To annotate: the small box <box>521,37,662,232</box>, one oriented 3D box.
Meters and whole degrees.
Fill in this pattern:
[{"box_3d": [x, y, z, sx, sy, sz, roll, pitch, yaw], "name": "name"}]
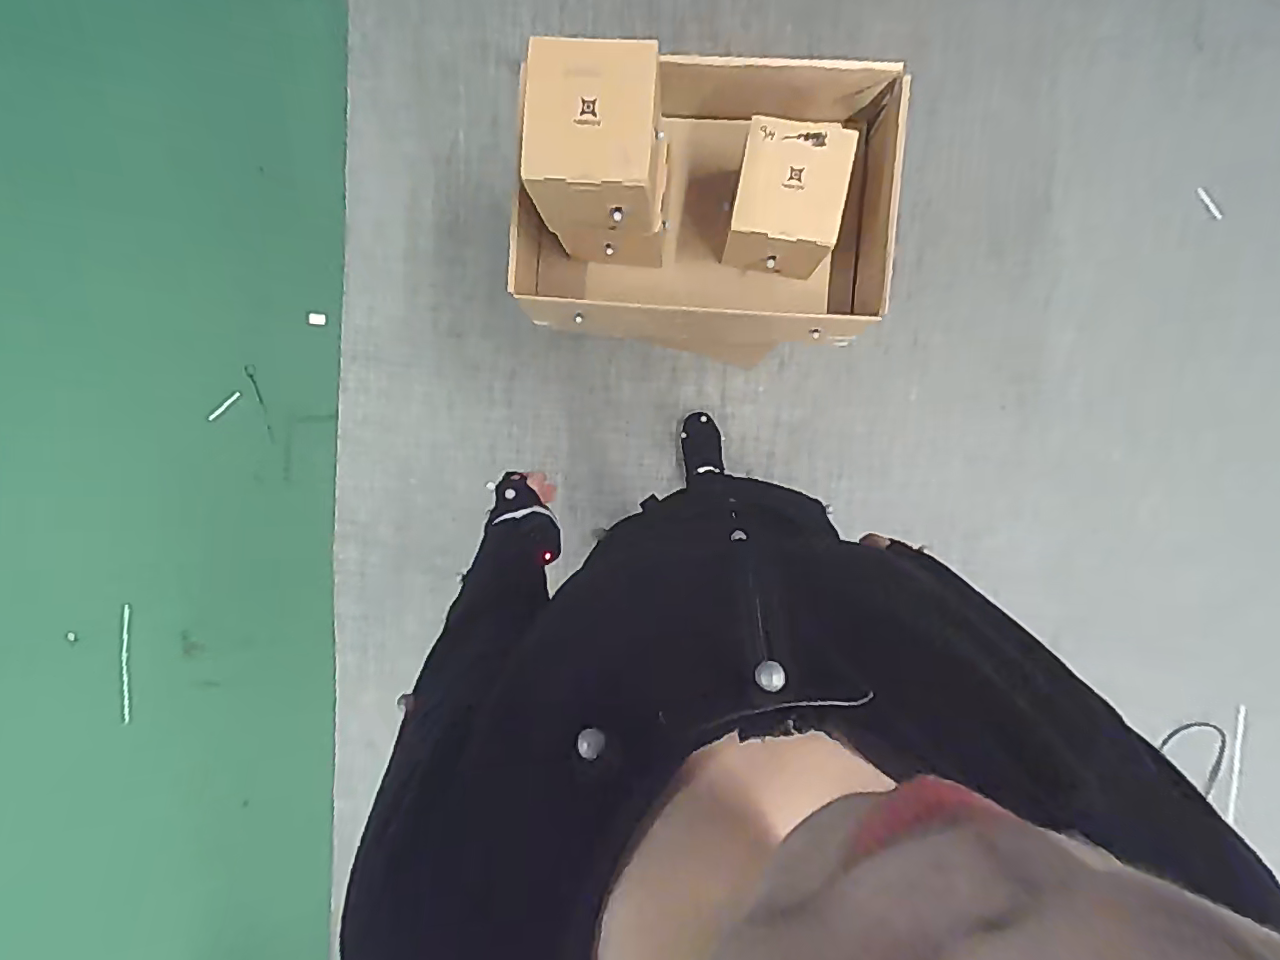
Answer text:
[{"box_3d": [-0.059, -0.469, 0.761, 0.168, 0.176, 0.179, 5, 93, 4], "name": "small box"}]
